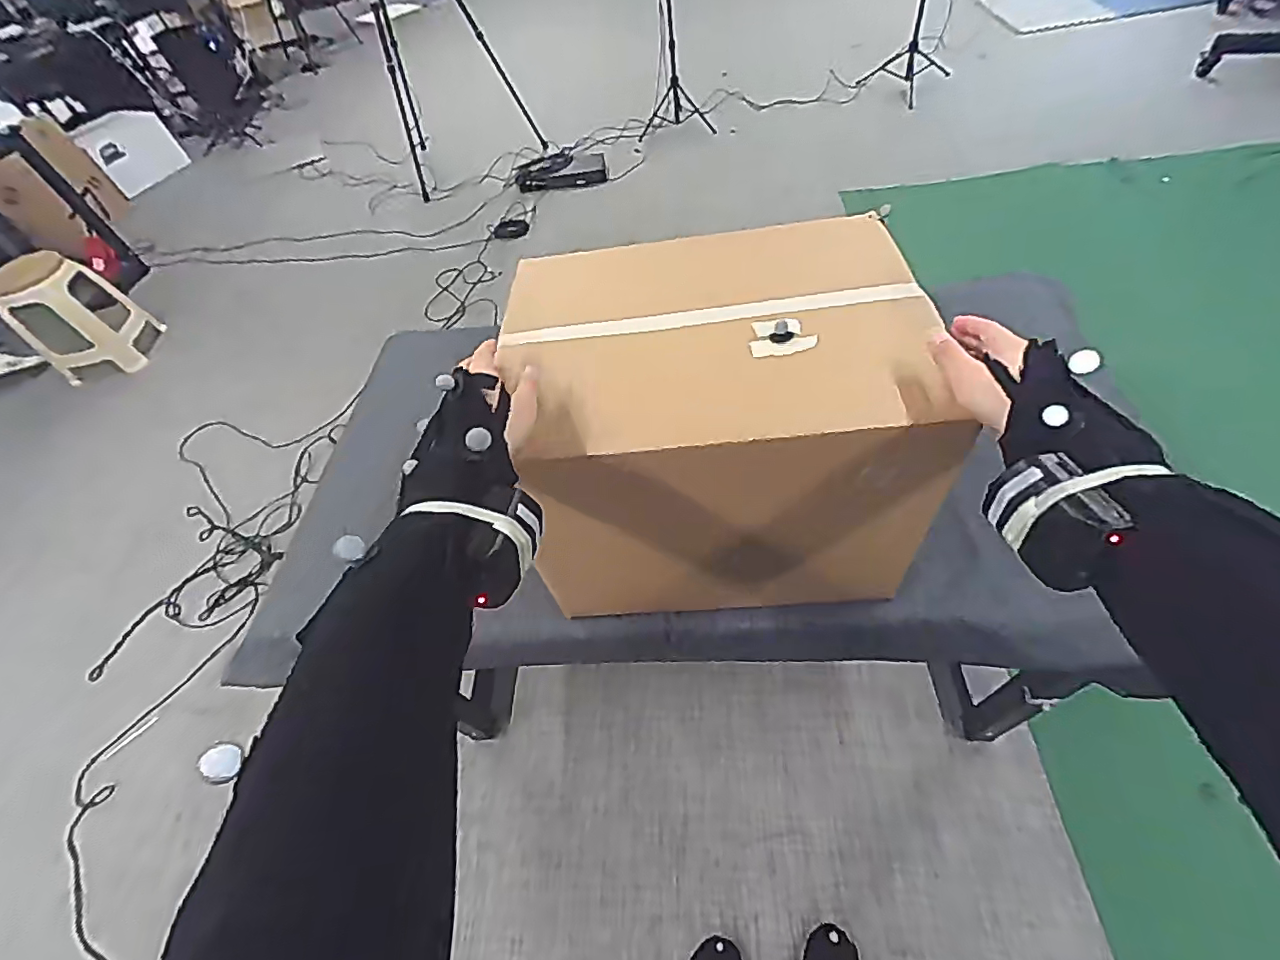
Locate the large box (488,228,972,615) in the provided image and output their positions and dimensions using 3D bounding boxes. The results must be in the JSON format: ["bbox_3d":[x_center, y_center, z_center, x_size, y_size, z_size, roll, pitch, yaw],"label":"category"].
[{"bbox_3d":[0.080,-0.055,0.645,0.408,0.320,0.320,-5,52,5],"label":"large box"}]
